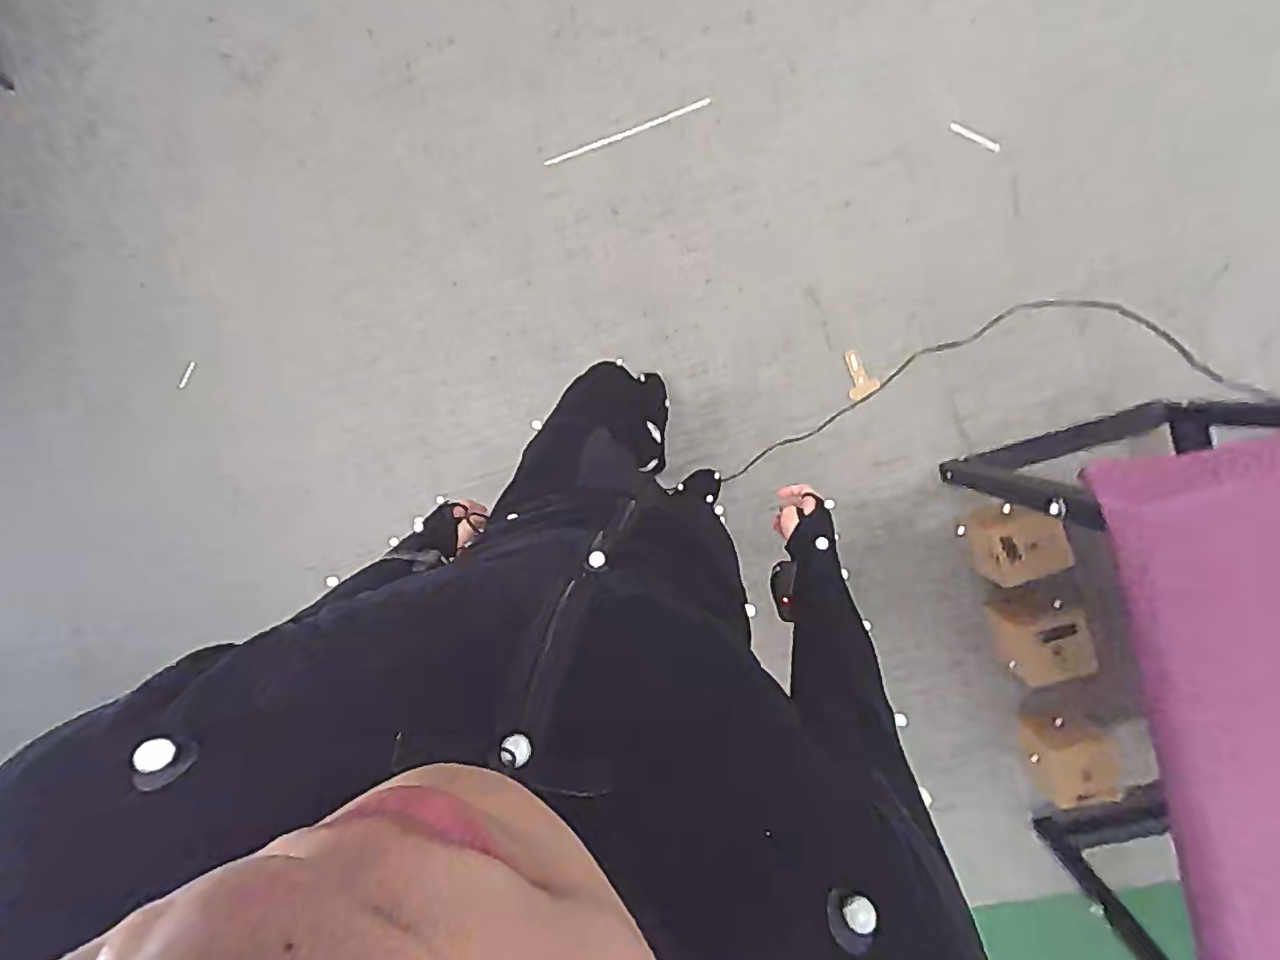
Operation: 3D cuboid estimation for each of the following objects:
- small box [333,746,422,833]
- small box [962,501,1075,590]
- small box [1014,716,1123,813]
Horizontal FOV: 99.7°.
[{"bbox_3d":[-0.849,1.005,1.765,0.179,0.176,0.168,-16,96,8],"label":"small box"},{"bbox_3d":[0.988,0.168,1.434,0.179,0.176,0.168,-21,95,8],"label":"small box"},{"bbox_3d":[1.175,0.777,1.497,0.168,0.176,0.179,-13,96,8],"label":"small box"}]
